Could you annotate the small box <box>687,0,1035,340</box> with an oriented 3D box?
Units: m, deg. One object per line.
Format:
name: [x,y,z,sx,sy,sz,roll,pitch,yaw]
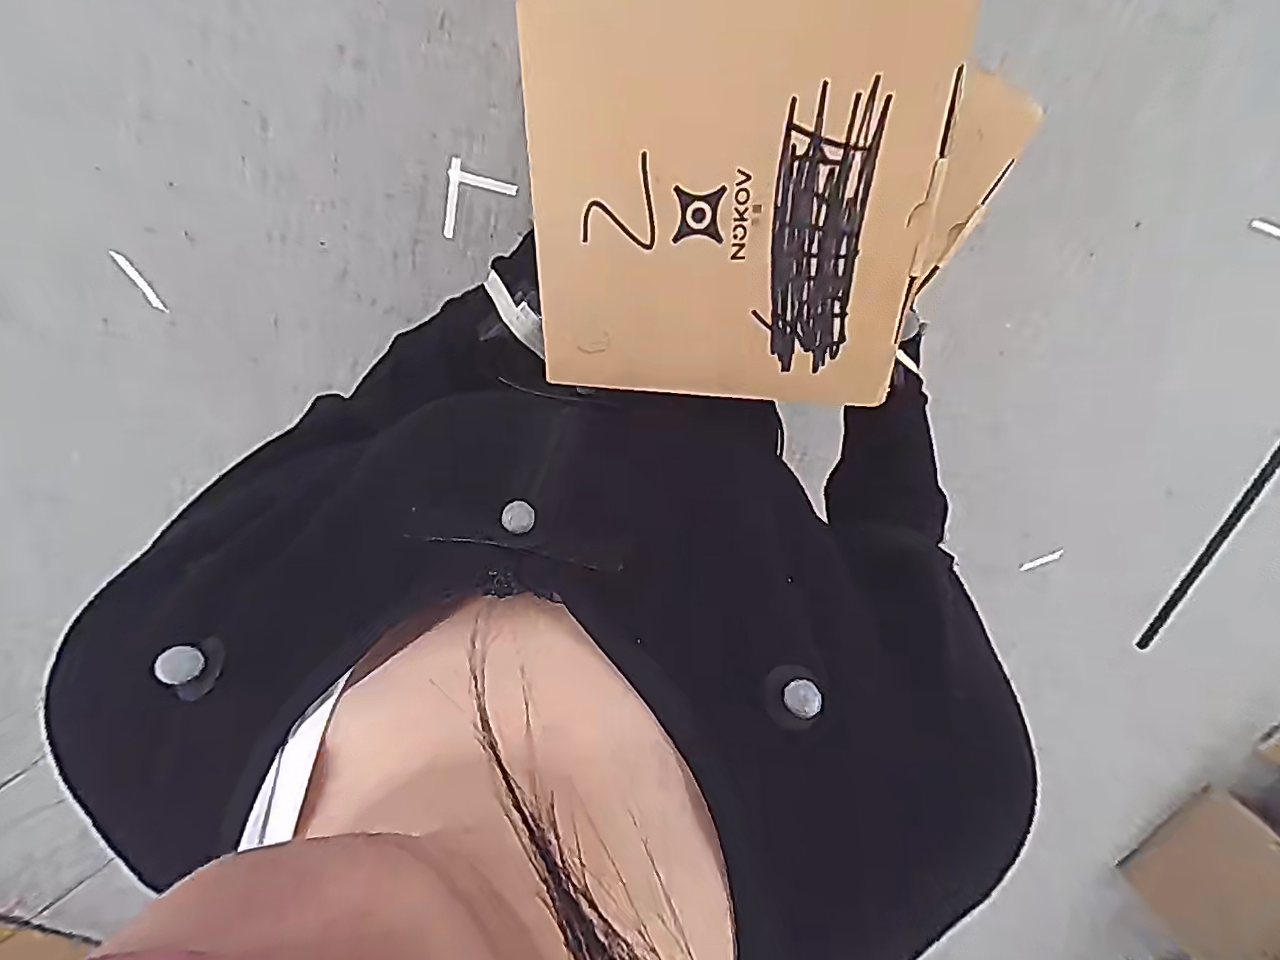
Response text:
small box: [0.153,-0.241,0.445,0.179,0.176,0.168,29,111,-8]
